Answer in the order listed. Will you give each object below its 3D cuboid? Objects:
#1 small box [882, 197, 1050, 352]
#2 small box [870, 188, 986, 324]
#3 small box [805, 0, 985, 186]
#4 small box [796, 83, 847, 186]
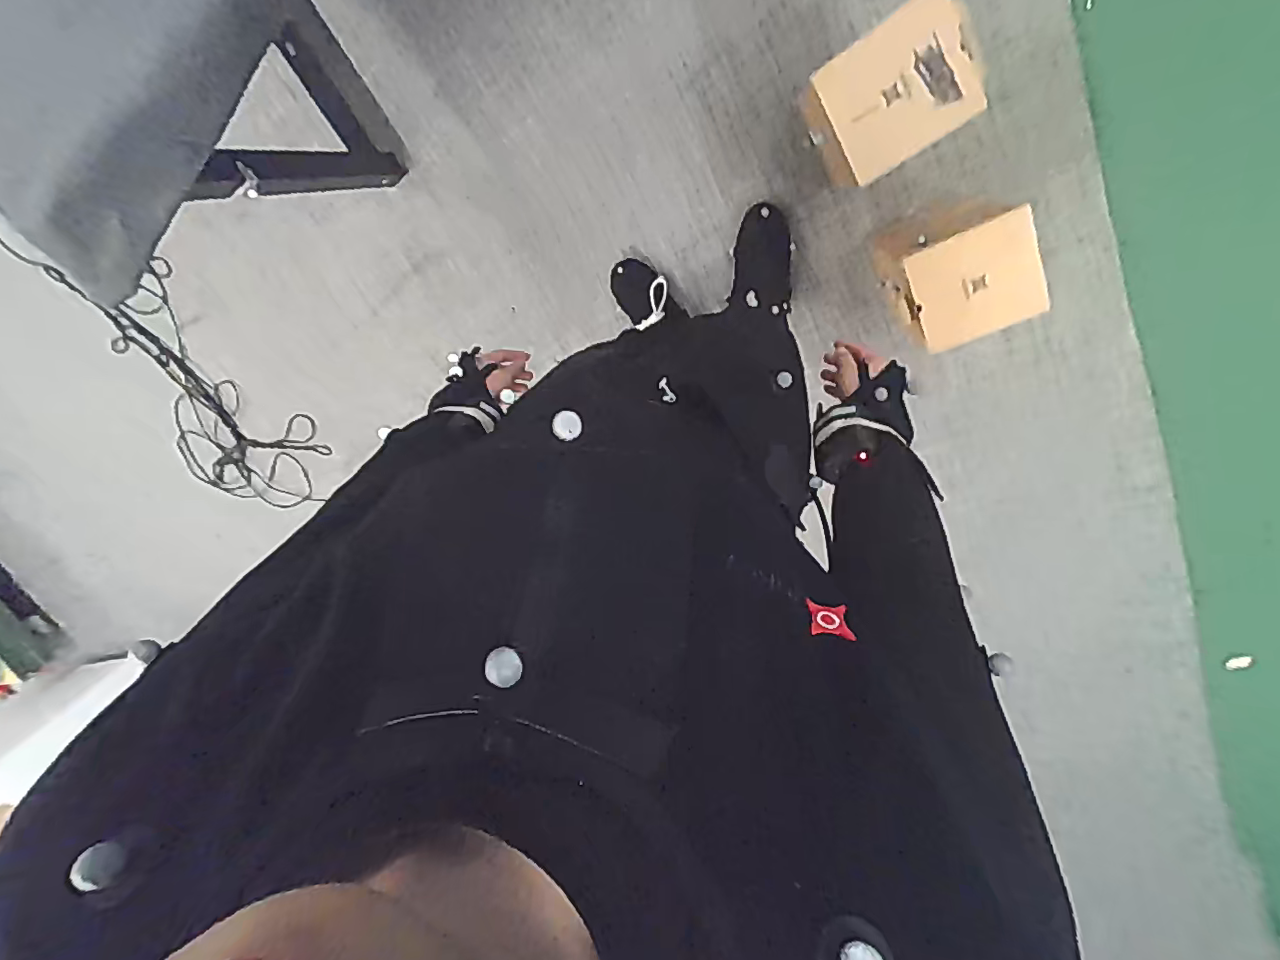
[{"bbox_3d":[0.520,-0.339,0.881,0.179,0.176,0.168,-21,114,23],"label":"small box"},{"bbox_3d":[0.549,-0.422,1.018,0.179,0.176,0.168,-21,114,25],"label":"small box"},{"bbox_3d":[0.357,-0.562,0.787,0.179,0.176,0.168,-27,110,26],"label":"small box"},{"bbox_3d":[0.384,-0.639,0.930,0.179,0.176,0.168,-26,110,26],"label":"small box"}]
